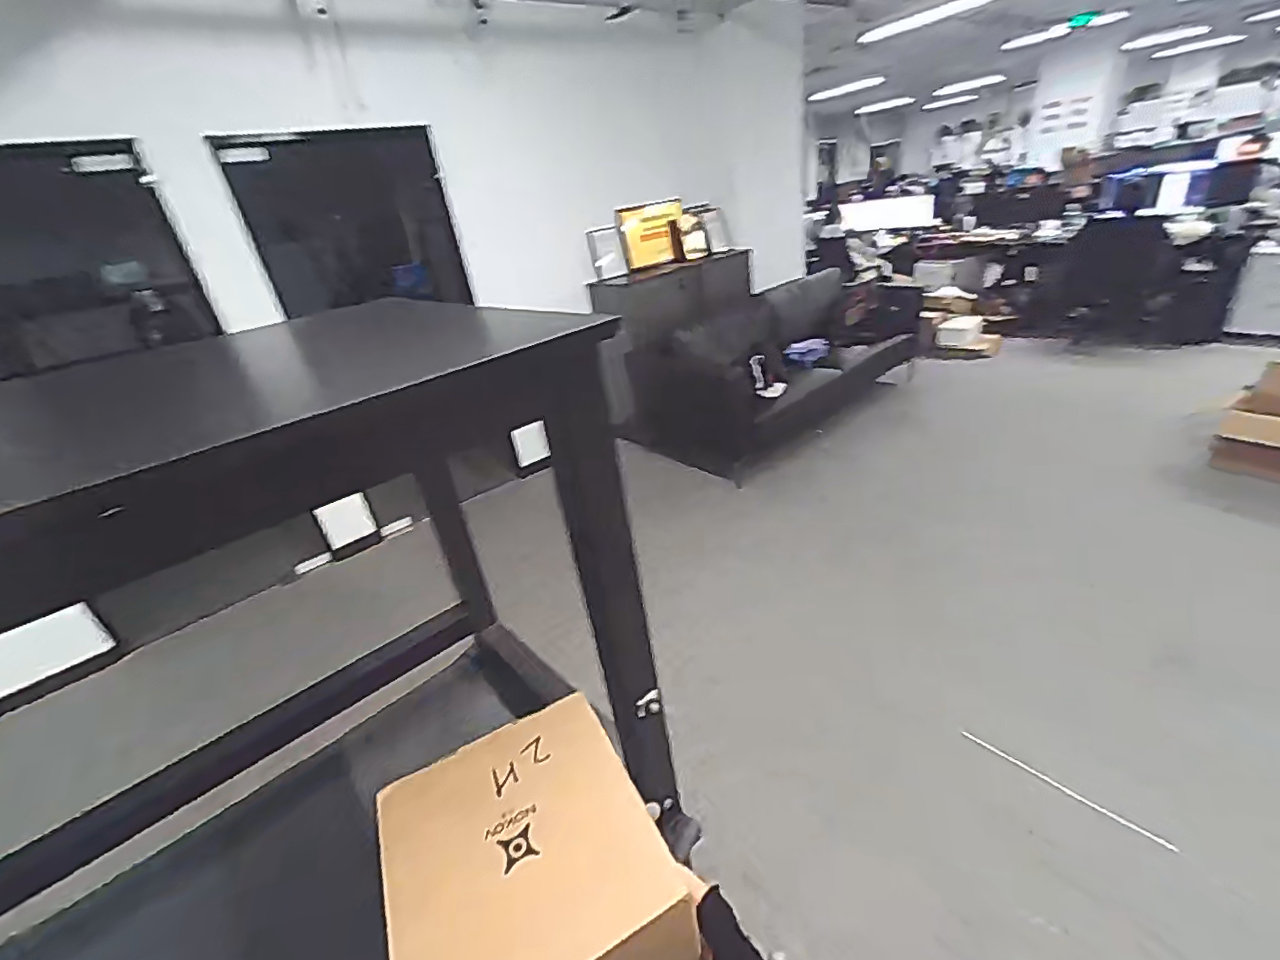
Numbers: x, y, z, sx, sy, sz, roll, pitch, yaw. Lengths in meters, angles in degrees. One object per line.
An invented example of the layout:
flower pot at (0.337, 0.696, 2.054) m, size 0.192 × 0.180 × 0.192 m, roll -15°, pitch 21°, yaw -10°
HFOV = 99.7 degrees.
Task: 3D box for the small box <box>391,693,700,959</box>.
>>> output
small box at (-0.067, 0.307, 0.402) m, size 0.168 × 0.176 × 0.179 m, roll -20°, pitch 30°, yaw -20°
